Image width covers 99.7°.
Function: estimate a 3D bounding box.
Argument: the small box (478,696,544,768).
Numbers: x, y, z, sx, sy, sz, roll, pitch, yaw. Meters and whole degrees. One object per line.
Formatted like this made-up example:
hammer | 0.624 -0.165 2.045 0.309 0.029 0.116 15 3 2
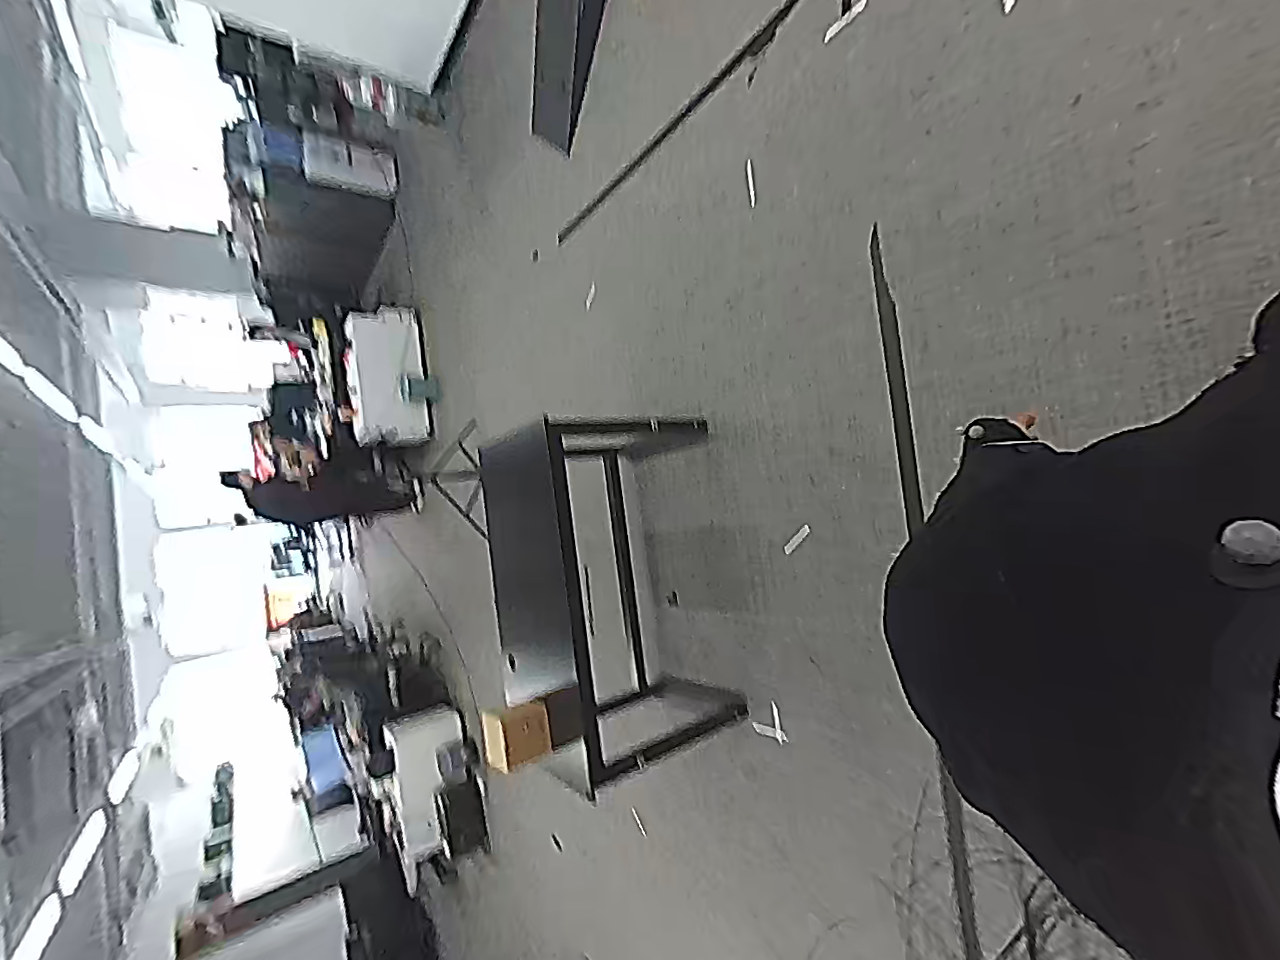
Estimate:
small box | -0.439 0.858 1.860 0.179 0.176 0.168 -18 79 53
